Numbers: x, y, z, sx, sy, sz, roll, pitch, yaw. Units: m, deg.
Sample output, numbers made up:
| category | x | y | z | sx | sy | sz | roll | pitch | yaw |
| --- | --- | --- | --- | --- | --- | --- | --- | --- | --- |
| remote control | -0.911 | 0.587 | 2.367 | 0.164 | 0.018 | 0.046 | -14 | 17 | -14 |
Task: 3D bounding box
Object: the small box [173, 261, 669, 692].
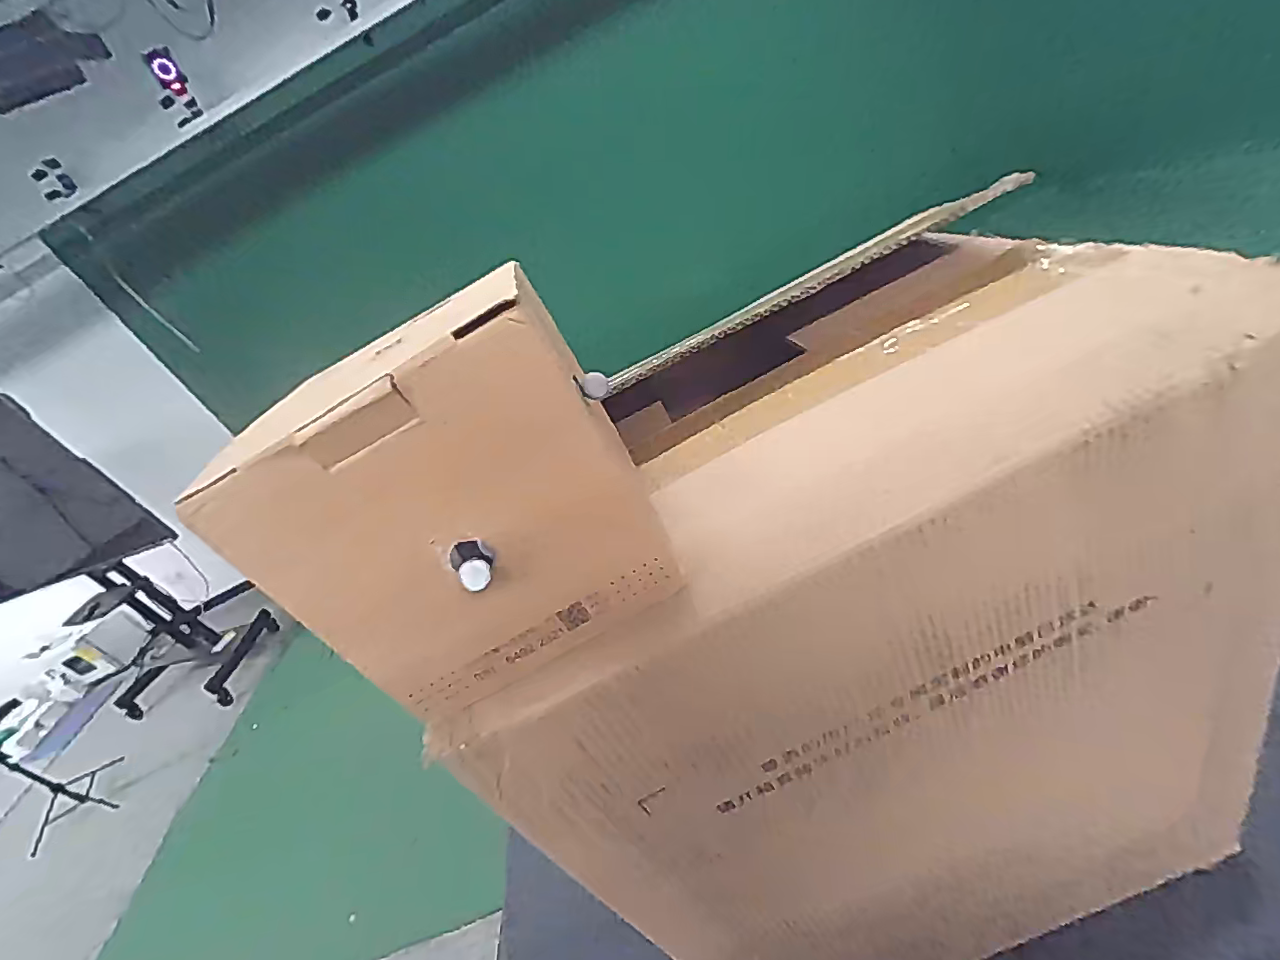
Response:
| category | x | y | z | sx | sy | sz | roll | pitch | yaw |
| --- | --- | --- | --- | --- | --- | --- | --- | --- | --- |
| small box | -0.101 | -0.003 | 0.325 | 0.168 | 0.176 | 0.179 | -29 | 30 | 2 |
